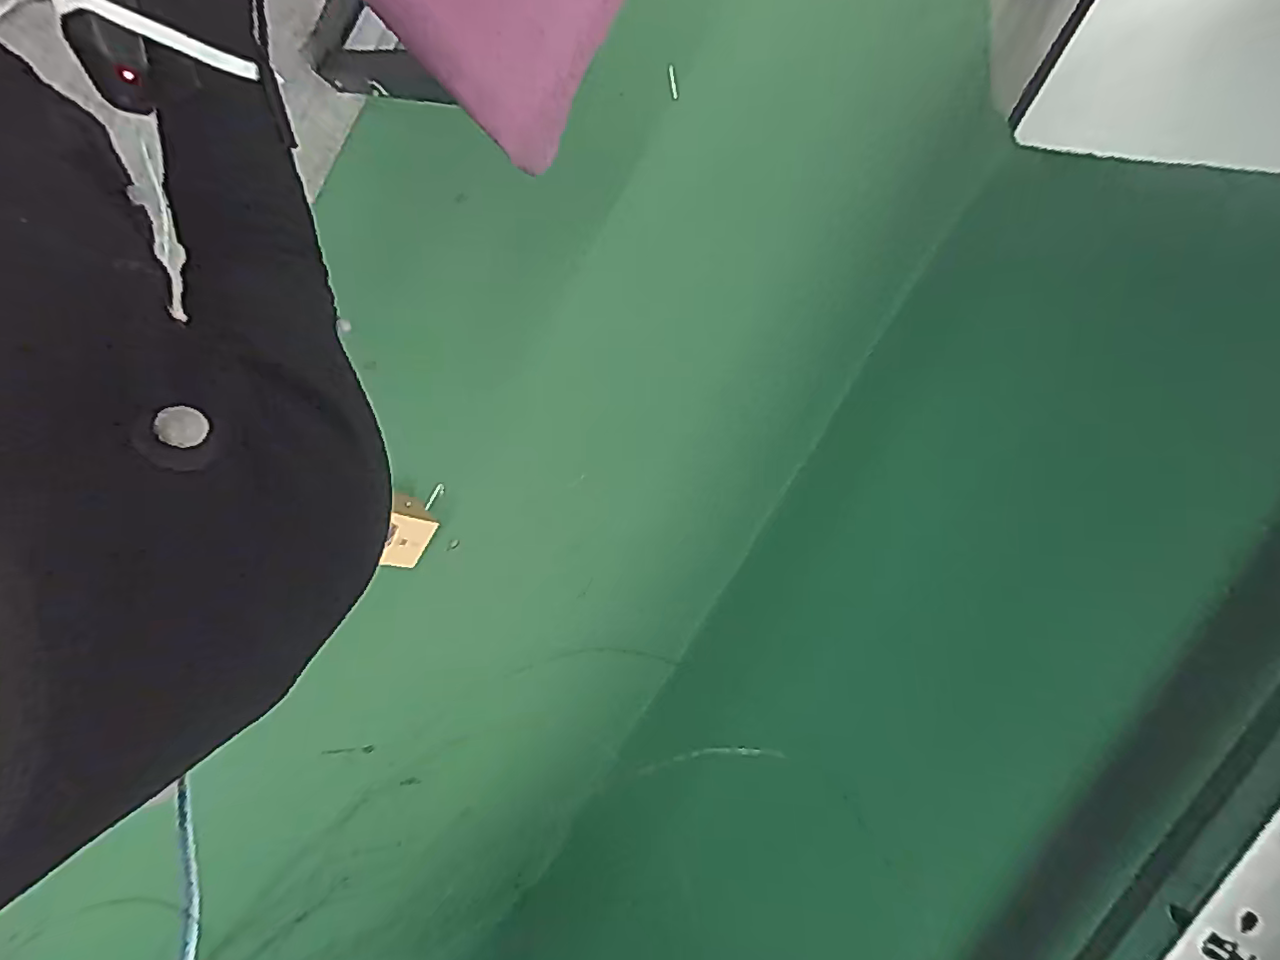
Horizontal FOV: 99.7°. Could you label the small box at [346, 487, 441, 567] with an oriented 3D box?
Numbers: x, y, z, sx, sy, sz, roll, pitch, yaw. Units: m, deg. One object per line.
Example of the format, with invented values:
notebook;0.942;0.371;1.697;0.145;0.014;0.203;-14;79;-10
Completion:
small box;-0.743;0.138;1.621;0.168;0.176;0.179;-58;145;4
